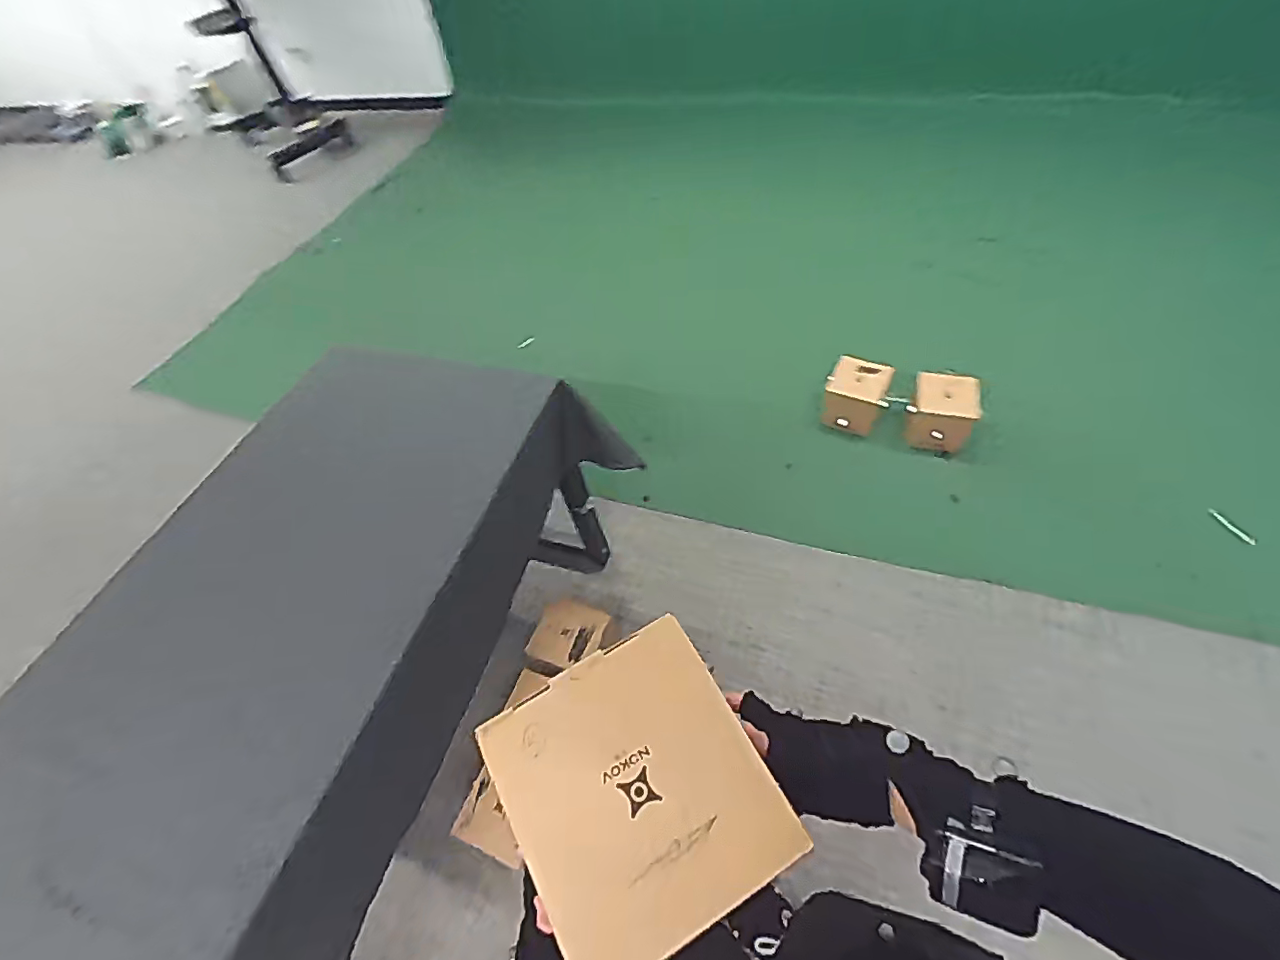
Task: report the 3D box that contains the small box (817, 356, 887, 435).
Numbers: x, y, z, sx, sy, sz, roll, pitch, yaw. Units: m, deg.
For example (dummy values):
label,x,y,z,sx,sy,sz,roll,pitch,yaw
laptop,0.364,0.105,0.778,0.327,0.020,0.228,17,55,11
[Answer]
label,x,y,z,sx,sy,sz,roll,pitch,yaw
small box,0.709,-0.285,1.826,0.168,0.176,0.179,21,61,22

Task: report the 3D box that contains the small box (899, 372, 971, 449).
label,x,y,z,sx,sy,sz,roll,pitch,yaw
small box,0.946,-0.221,1.744,0.168,0.176,0.179,11,56,15

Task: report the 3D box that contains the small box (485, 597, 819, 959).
label,x,y,z,sx,sy,sz,roll,pitch,yaw
small box,0.003,0.223,0.425,0.168,0.176,0.179,-27,67,-11
